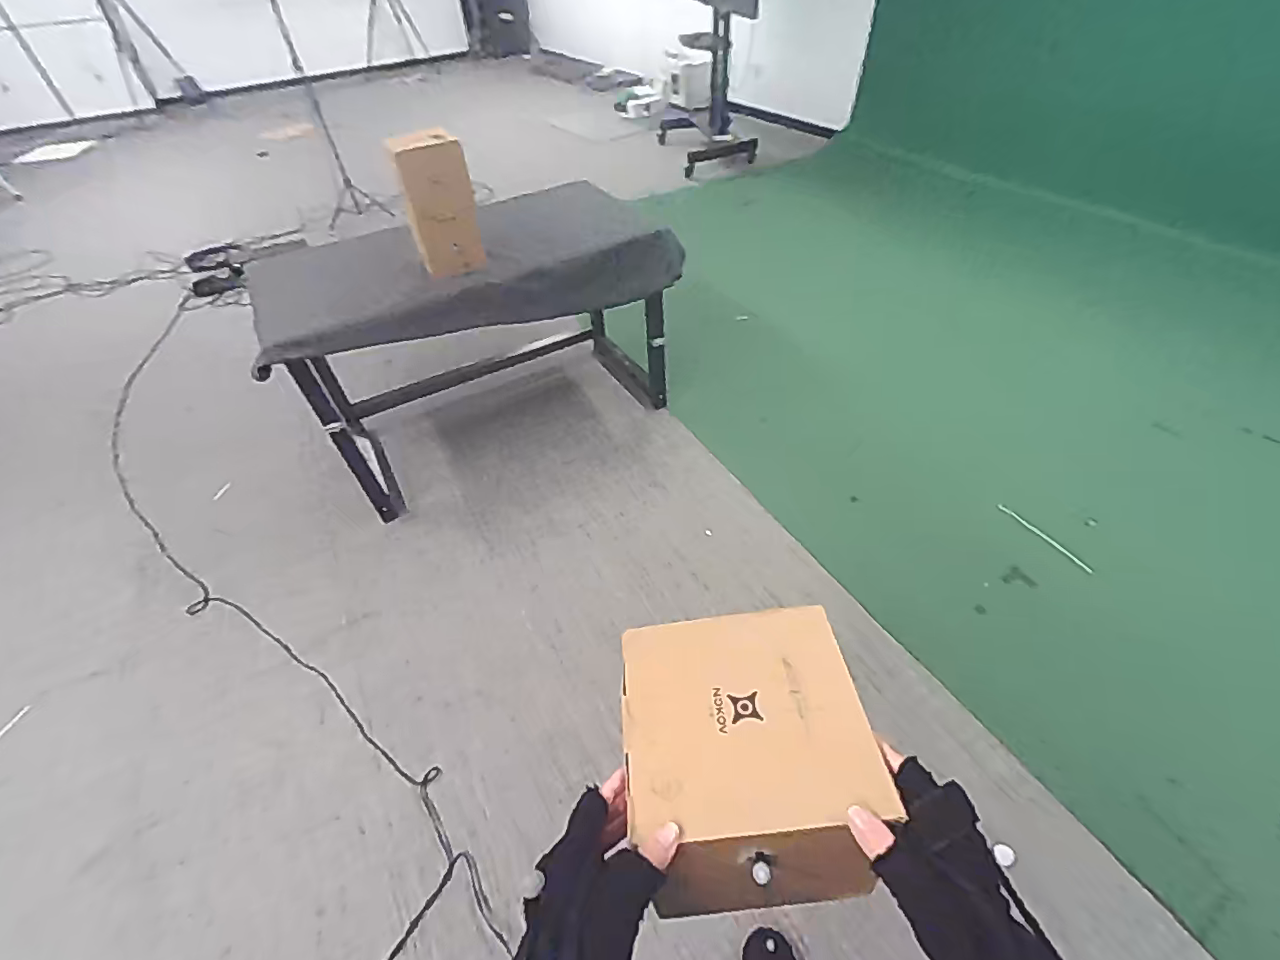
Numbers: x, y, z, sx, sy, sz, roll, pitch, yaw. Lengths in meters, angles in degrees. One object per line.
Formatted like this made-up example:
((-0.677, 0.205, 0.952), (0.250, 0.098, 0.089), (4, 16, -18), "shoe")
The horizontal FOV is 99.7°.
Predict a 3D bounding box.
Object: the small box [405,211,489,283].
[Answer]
((-0.565, -0.702, 1.598), (0.168, 0.176, 0.179), (-25, 49, -16), "small box")

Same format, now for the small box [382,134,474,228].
((-0.572, -0.817, 1.480), (0.179, 0.176, 0.168), (-26, 48, -16), "small box")

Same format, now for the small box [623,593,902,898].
((0.089, 0.223, 0.455), (0.179, 0.176, 0.168), (-10, 40, 1), "small box")
